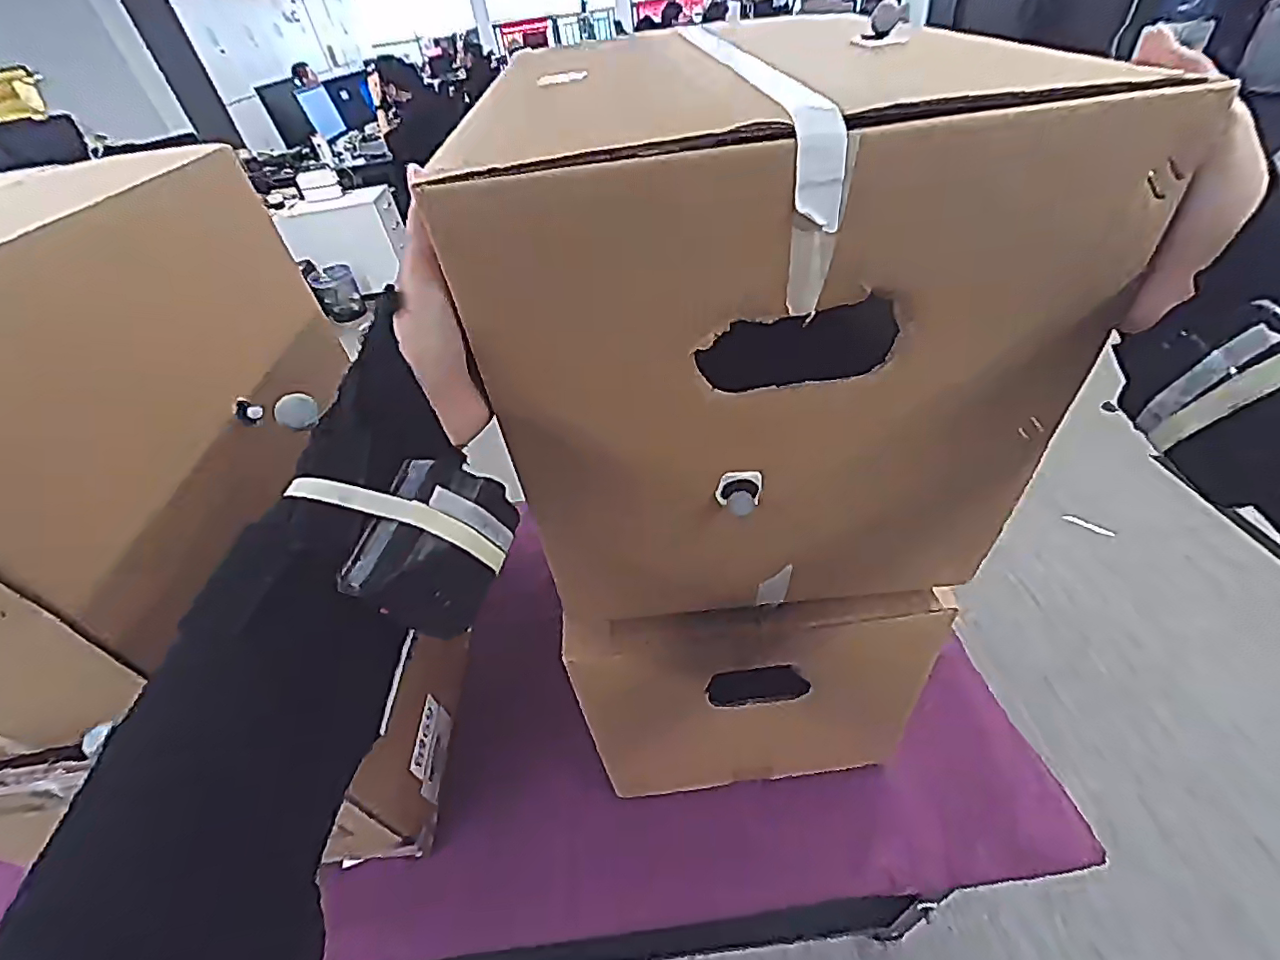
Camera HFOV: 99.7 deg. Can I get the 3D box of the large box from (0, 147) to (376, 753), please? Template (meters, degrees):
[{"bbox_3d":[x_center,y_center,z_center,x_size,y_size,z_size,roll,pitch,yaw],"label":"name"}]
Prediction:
[{"bbox_3d":[-0.479,-0.041,0.454,0.320,0.320,0.408,-10,43,2],"label":"large box"}]
